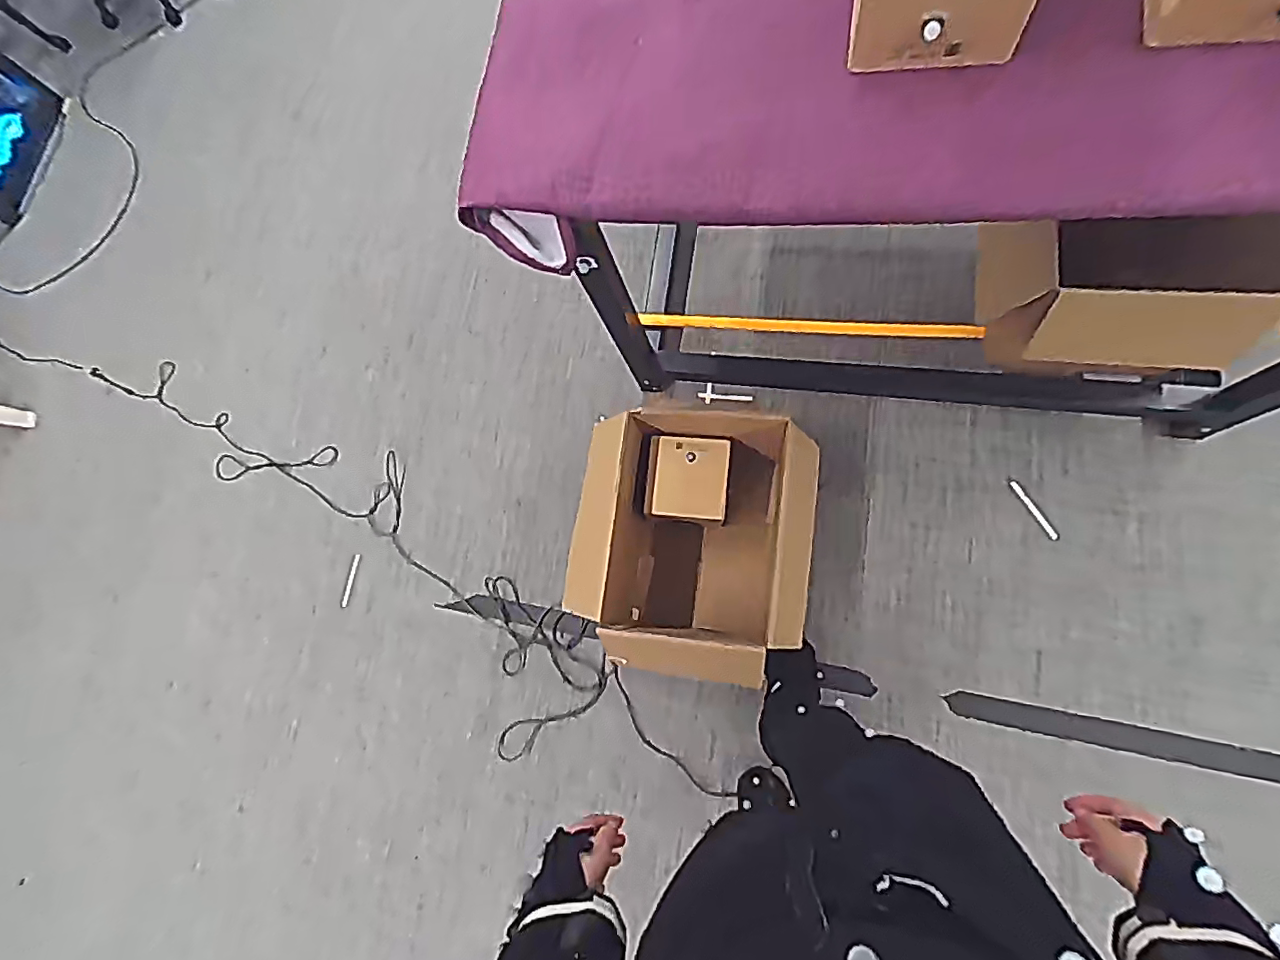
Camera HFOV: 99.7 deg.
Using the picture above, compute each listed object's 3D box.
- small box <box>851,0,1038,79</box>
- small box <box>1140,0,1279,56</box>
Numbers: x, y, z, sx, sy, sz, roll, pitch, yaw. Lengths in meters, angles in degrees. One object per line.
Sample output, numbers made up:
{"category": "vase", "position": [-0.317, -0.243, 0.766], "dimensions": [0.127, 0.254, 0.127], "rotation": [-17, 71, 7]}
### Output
{"category": "small box", "position": [0.317, -0.554, 0.546], "dimensions": [0.168, 0.176, 0.179], "rotation": [7, 79, 14]}
{"category": "small box", "position": [0.595, -0.522, 0.473], "dimensions": [0.179, 0.176, 0.168], "rotation": [8, 78, 15]}
